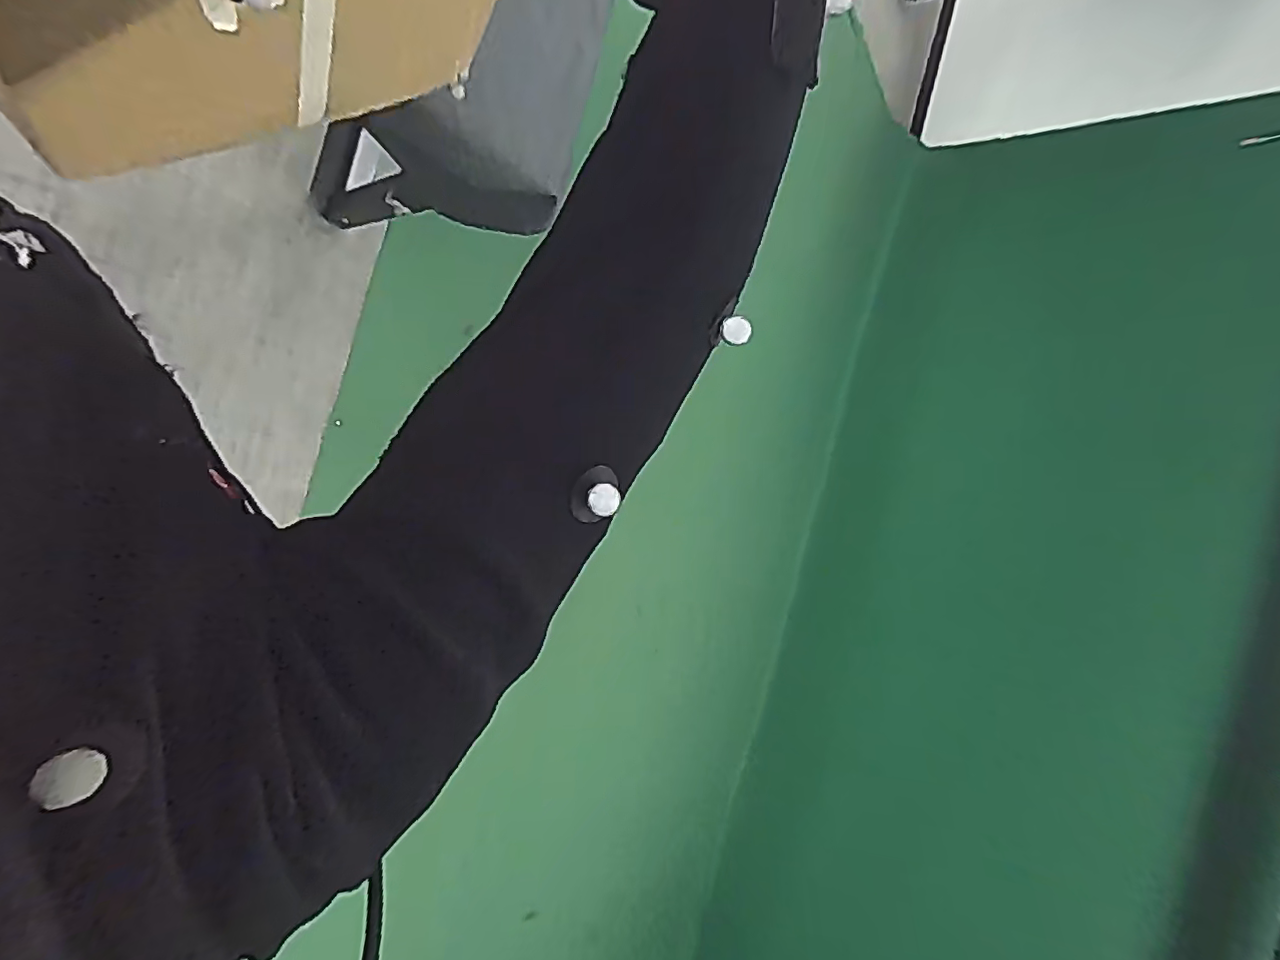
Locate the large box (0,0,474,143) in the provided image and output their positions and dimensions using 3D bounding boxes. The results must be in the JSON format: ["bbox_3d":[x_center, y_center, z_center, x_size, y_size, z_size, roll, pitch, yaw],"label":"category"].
[{"bbox_3d":[-0.228,-0.436,0.206,0.320,0.408,0.320,-44,109,-30],"label":"large box"}]
